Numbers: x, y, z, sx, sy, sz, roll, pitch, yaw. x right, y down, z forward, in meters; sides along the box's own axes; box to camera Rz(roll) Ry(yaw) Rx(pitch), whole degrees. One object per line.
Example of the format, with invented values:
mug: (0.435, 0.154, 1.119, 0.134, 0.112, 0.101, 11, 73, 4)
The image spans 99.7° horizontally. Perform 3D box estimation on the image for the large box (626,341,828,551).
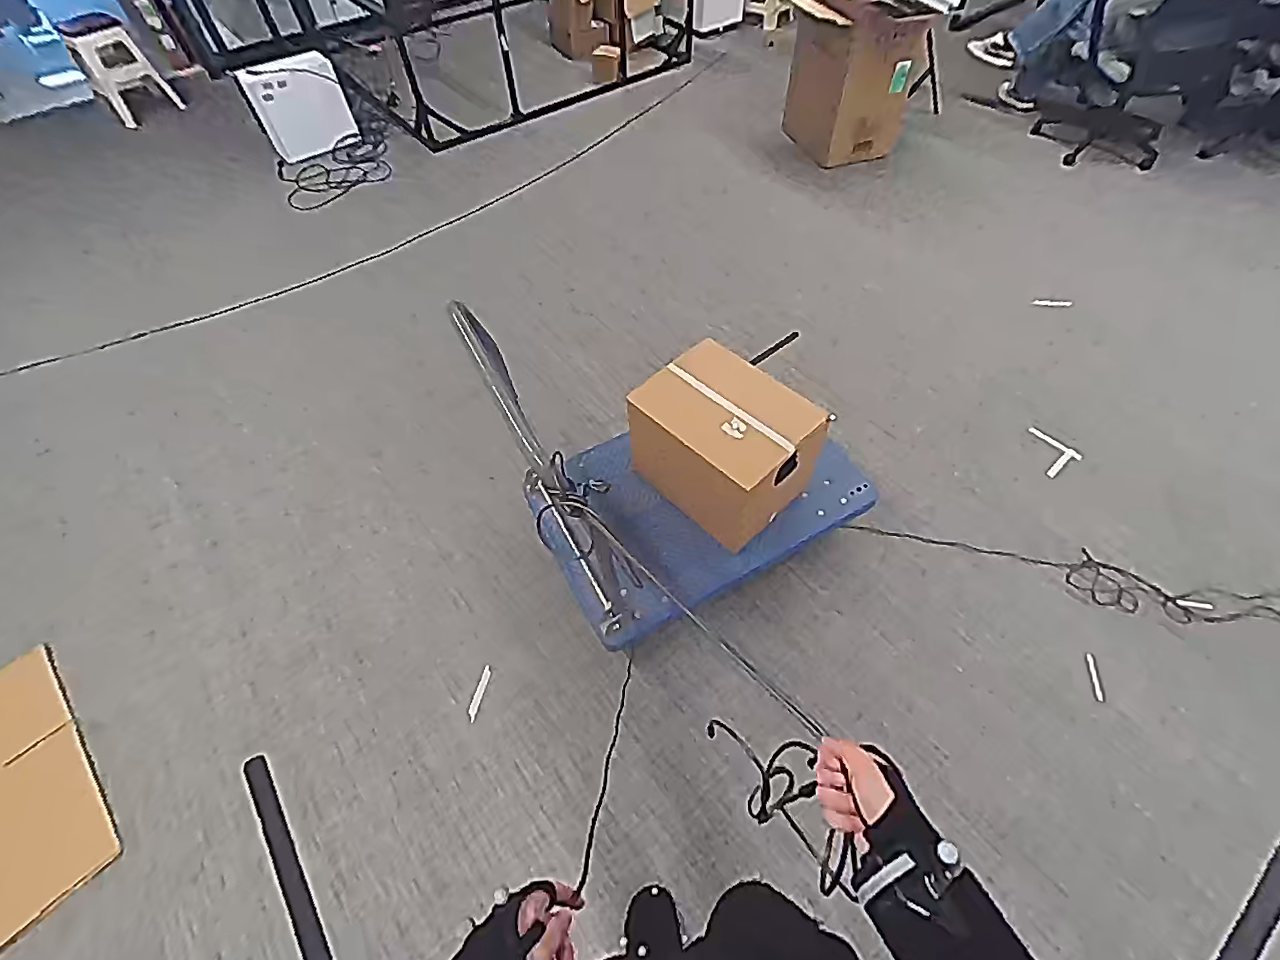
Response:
large box: (0.210, -0.092, 1.443, 0.320, 0.320, 0.408, -39, 63, -21)
